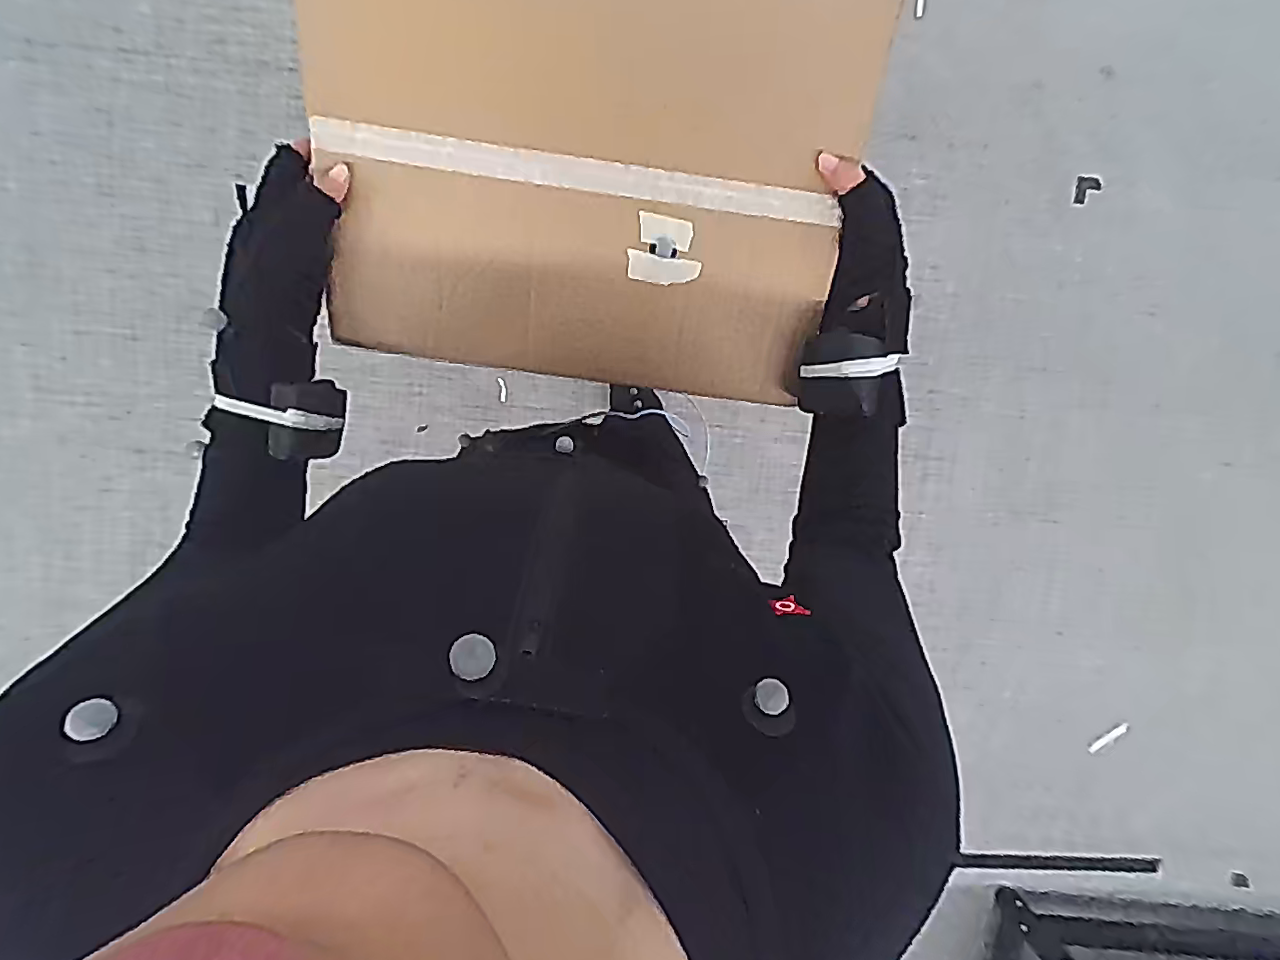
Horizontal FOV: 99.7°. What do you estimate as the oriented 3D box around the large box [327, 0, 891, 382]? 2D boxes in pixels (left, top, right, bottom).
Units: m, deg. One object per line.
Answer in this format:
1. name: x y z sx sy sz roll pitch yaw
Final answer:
1. large box: -0.036 -0.310 0.559 0.408 0.320 0.320 7 115 -3
